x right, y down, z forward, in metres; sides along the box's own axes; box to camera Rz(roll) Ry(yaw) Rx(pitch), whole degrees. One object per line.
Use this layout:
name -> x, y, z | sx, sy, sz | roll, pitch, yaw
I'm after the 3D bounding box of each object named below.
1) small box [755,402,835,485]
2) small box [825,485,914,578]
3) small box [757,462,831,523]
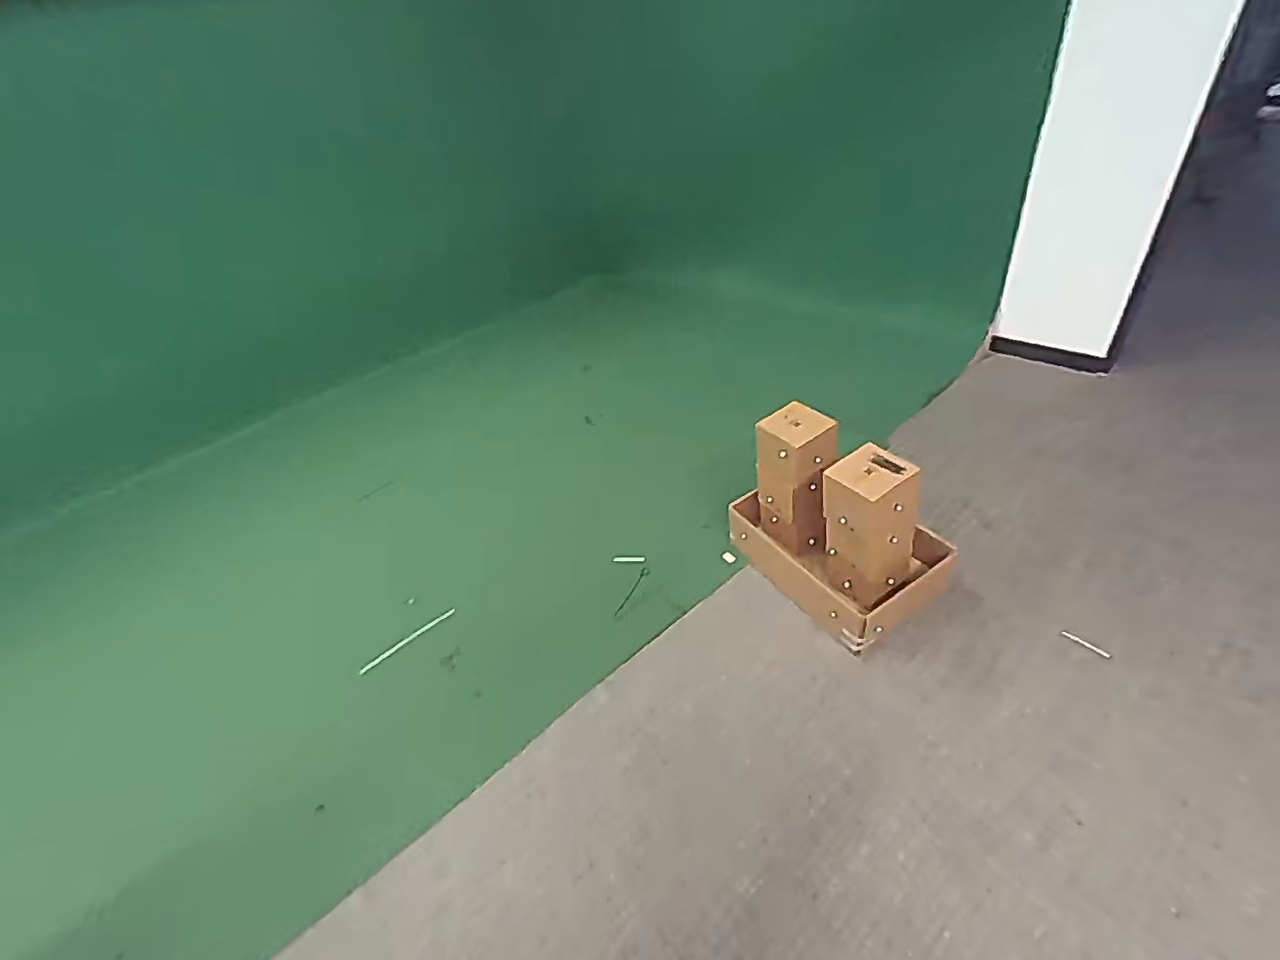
small box -> 0.479, -0.106, 1.671 | 0.168, 0.176, 0.179 | -30, 43, -18
small box -> 0.660, 0.151, 1.565 | 0.179, 0.176, 0.168 | -29, 41, -19
small box -> 0.506, 0.008, 1.788 | 0.179, 0.176, 0.168 | -29, 42, -17
